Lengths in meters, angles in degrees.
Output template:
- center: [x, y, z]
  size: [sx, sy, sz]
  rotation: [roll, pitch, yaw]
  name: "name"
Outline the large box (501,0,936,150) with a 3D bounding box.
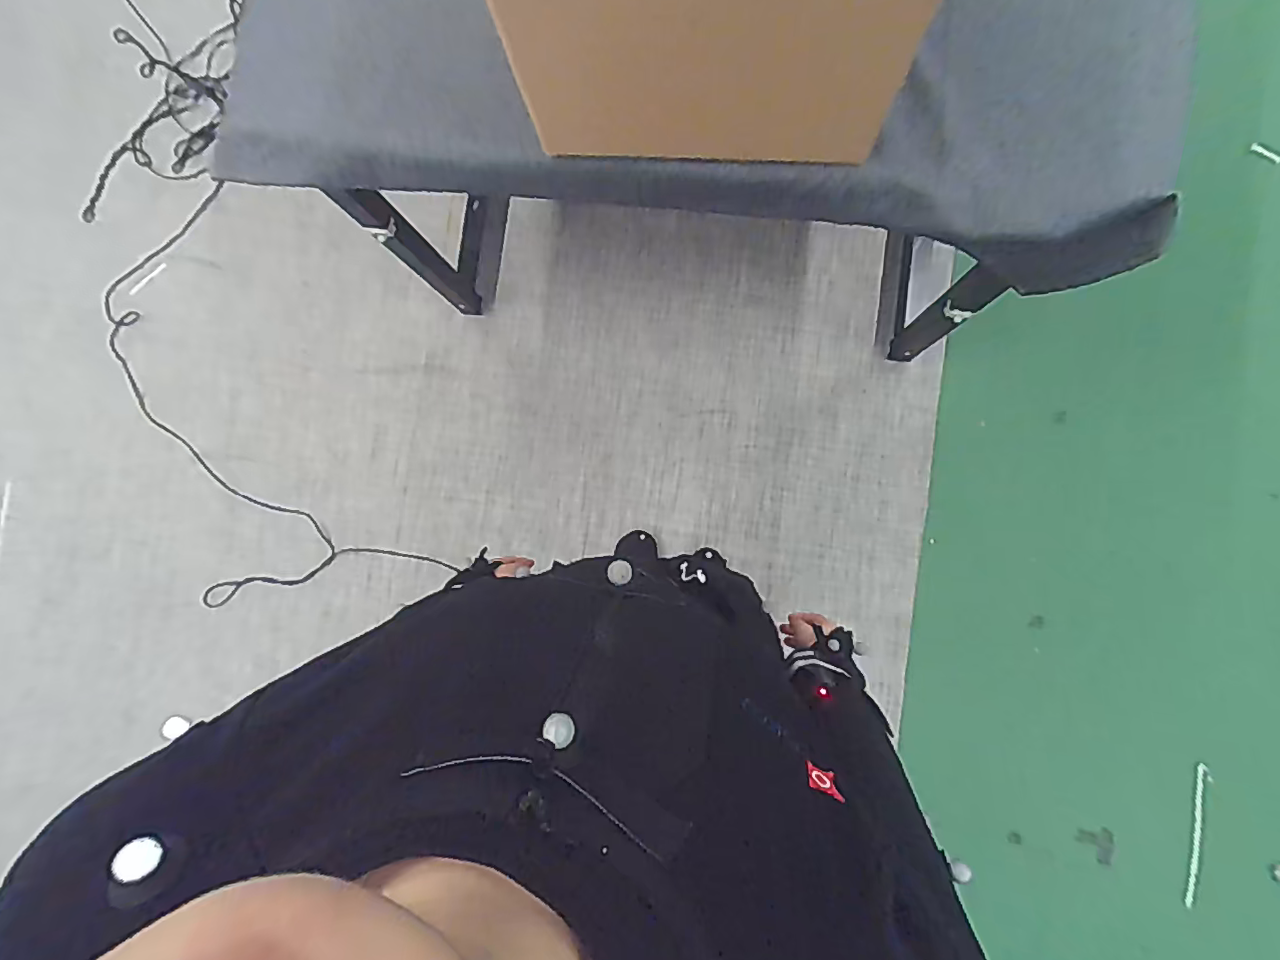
- center: [0.077, -0.576, 0.542]
  size: [0.408, 0.320, 0.320]
  rotation: [4, 86, 4]
  name: "large box"
